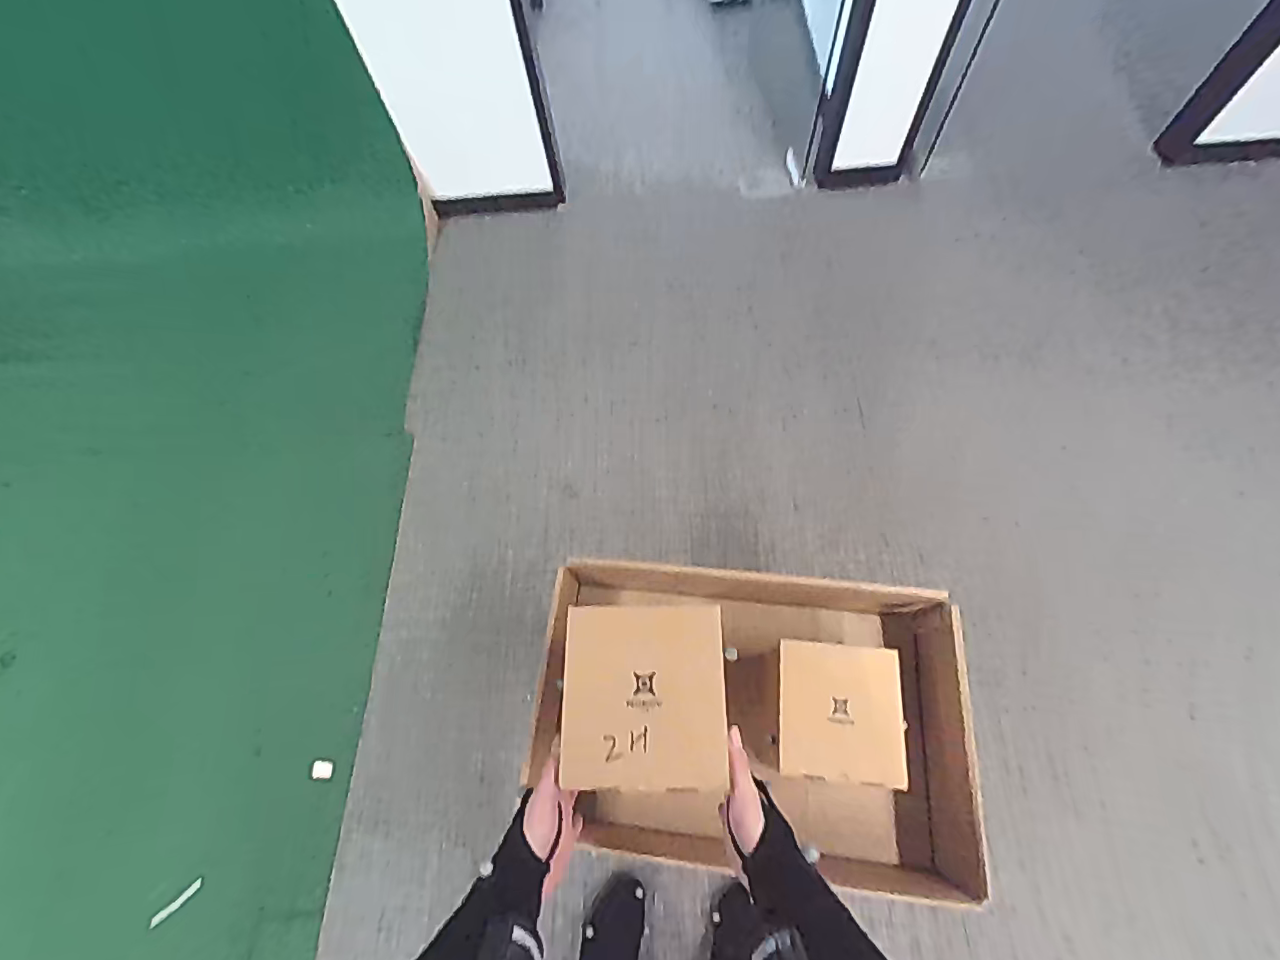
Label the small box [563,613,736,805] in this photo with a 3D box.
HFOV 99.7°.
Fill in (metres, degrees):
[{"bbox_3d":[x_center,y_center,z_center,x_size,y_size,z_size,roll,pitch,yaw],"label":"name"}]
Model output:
[{"bbox_3d":[0.014,0.252,0.610,0.168,0.176,0.179,-1,68,4],"label":"small box"}]
